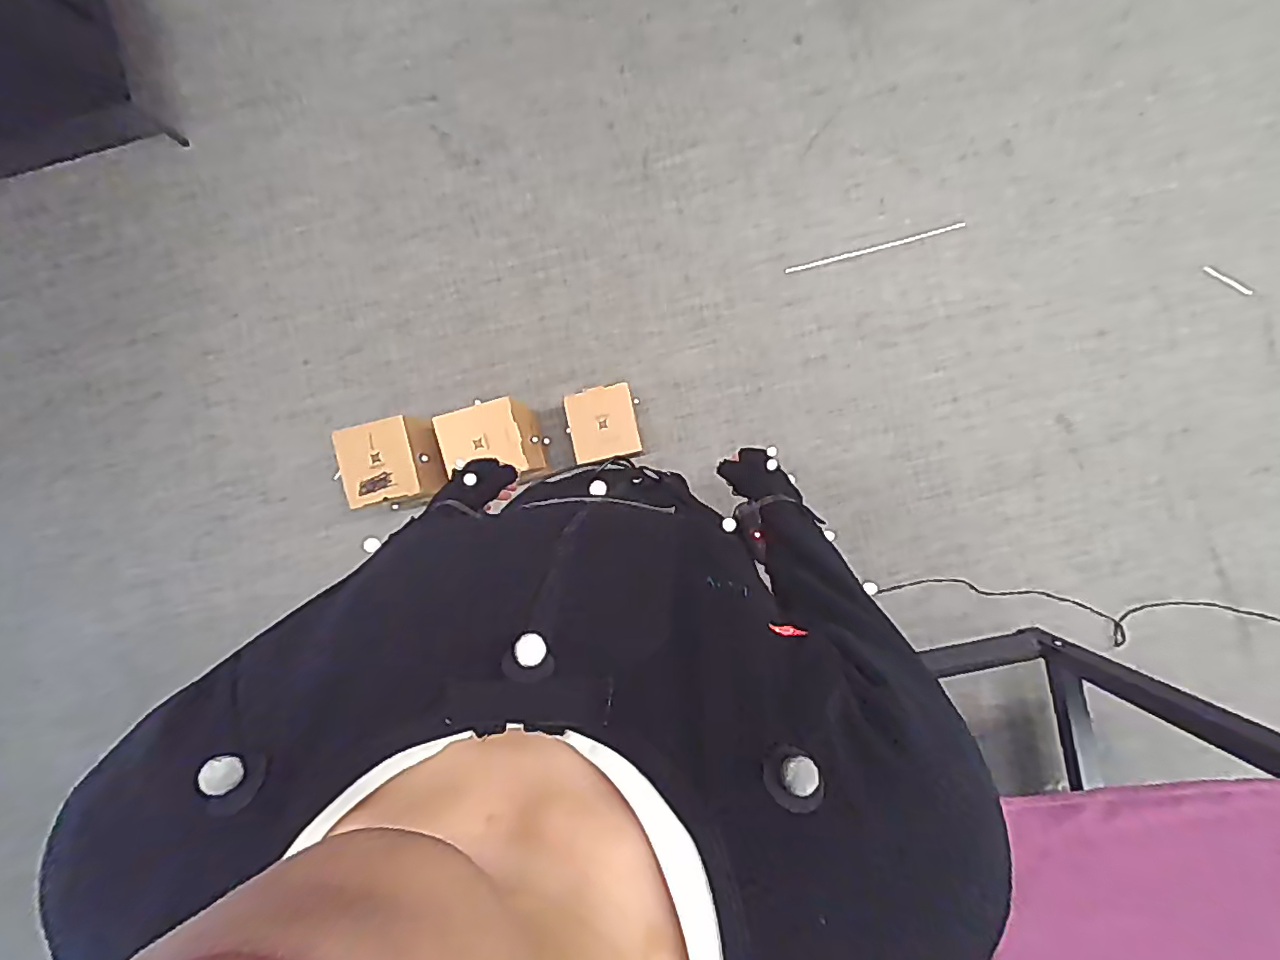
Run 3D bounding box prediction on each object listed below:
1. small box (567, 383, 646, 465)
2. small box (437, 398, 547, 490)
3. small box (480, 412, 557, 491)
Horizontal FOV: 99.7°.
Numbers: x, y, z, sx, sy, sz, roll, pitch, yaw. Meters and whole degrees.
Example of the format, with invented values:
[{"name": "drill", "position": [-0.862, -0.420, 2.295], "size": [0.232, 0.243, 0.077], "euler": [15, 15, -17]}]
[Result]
[{"name": "small box", "position": [-0.080, -0.138, 1.396], "size": [0.168, 0.176, 0.179], "euler": [-12, 91, 3]}, {"name": "small box", "position": [-0.332, -0.077, 1.242], "size": [0.179, 0.176, 0.168], "euler": [-16, 91, 2]}, {"name": "small box", "position": [-0.329, -0.075, 1.405], "size": [0.168, 0.176, 0.179], "euler": [-15, 90, 4]}]
